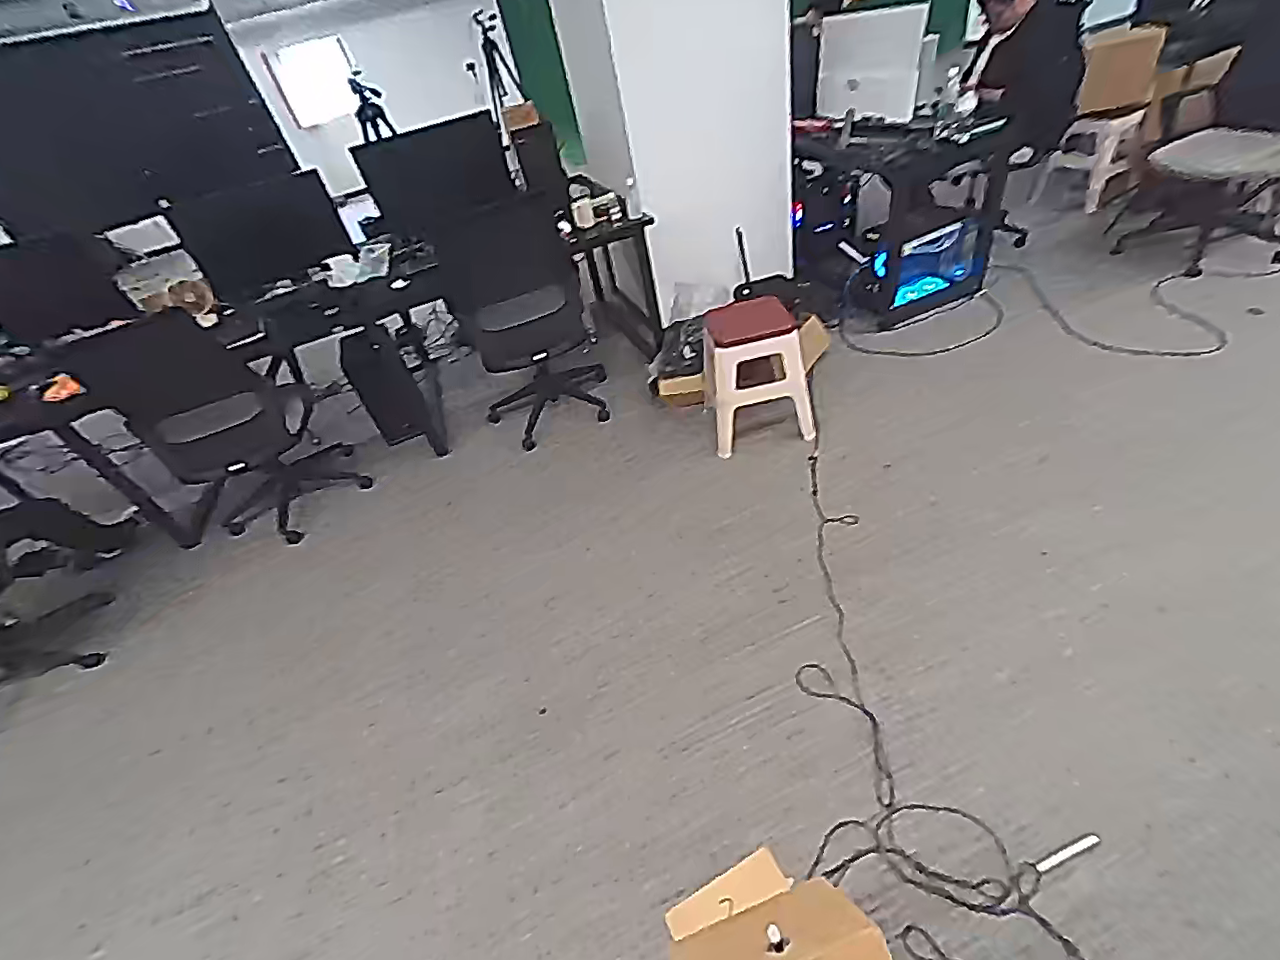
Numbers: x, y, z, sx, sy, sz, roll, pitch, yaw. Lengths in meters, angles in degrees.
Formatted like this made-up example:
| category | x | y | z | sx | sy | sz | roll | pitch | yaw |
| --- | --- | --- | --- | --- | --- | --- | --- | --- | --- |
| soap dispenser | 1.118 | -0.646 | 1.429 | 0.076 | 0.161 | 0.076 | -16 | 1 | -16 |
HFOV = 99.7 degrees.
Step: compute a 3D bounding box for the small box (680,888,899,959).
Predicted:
| category | x | y | z | sx | sy | sz | roll | pitch | yaw |
| --- | --- | --- | --- | --- | --- | --- | --- | --- | --- |
| small box | 0.137 | 0.478 | 0.446 | 0.179 | 0.176 | 0.168 | -19 | 66 | -6 |
